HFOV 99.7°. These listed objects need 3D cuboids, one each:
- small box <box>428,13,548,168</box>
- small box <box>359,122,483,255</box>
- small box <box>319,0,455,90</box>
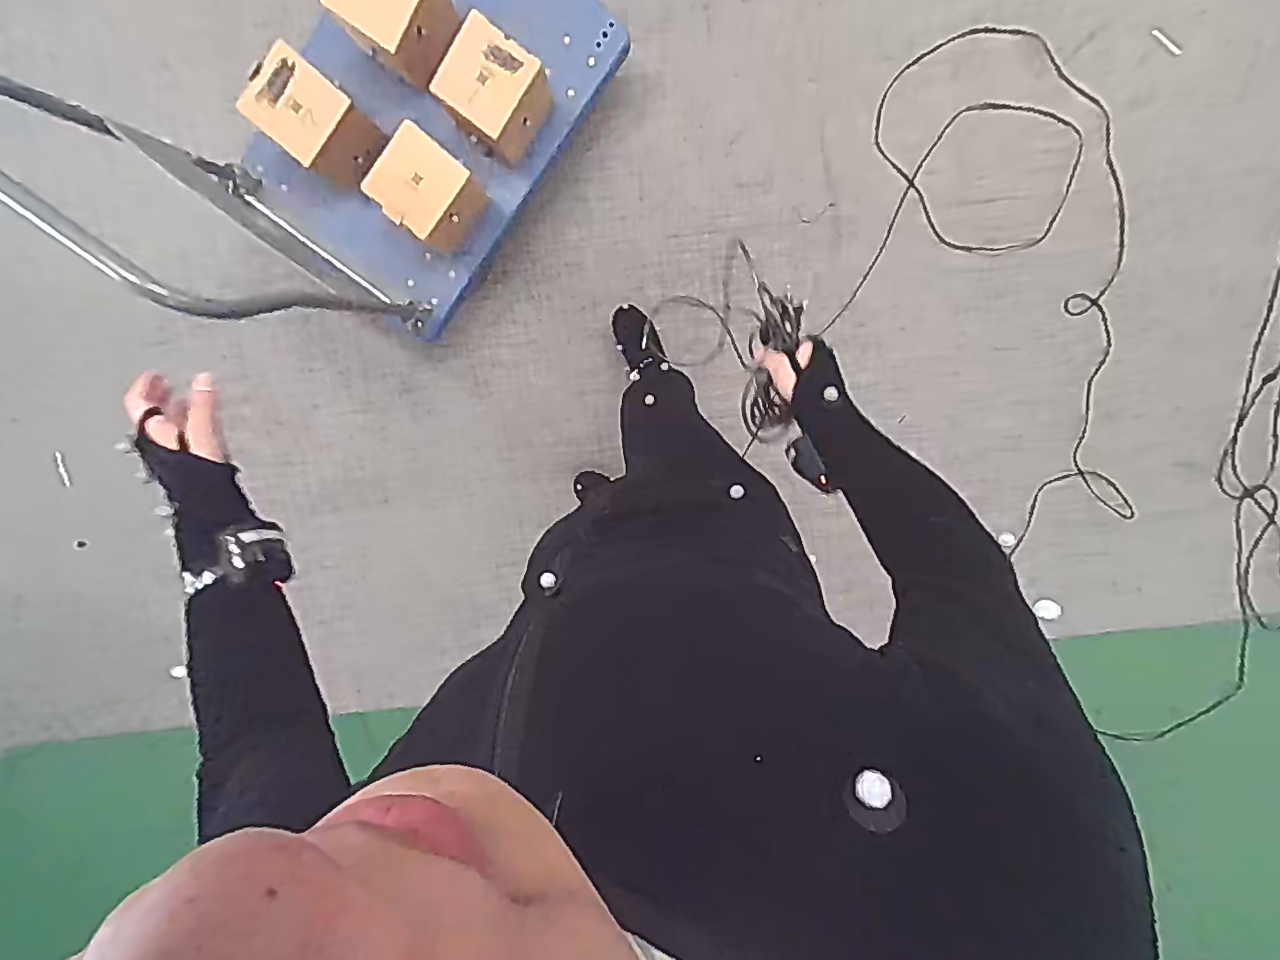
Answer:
[{"bbox_3d":[-0.314,-0.822,1.162,0.168,0.176,0.179,36,100,-7],"label":"small box"},{"bbox_3d":[-0.472,-0.634,1.202,0.168,0.176,0.179,39,100,-9],"label":"small box"},{"bbox_3d":[-0.515,-0.973,1.127,0.168,0.176,0.179,33,100,-8],"label":"small box"}]
